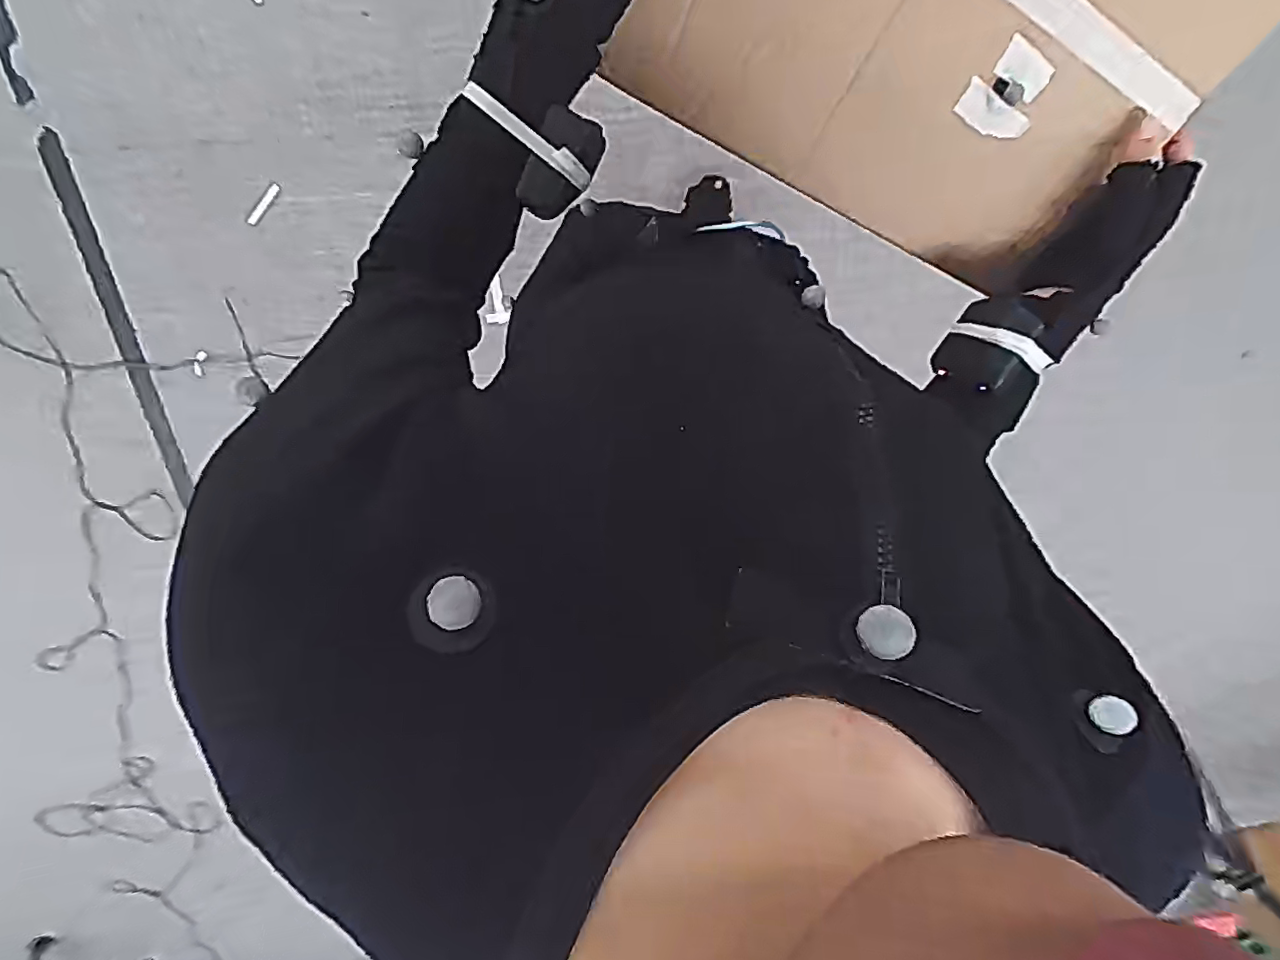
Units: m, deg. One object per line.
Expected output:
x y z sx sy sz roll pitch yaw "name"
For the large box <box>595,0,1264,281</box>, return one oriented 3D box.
0.200 -0.437 0.444 0.408 0.320 0.320 16 133 -20 "large box"
